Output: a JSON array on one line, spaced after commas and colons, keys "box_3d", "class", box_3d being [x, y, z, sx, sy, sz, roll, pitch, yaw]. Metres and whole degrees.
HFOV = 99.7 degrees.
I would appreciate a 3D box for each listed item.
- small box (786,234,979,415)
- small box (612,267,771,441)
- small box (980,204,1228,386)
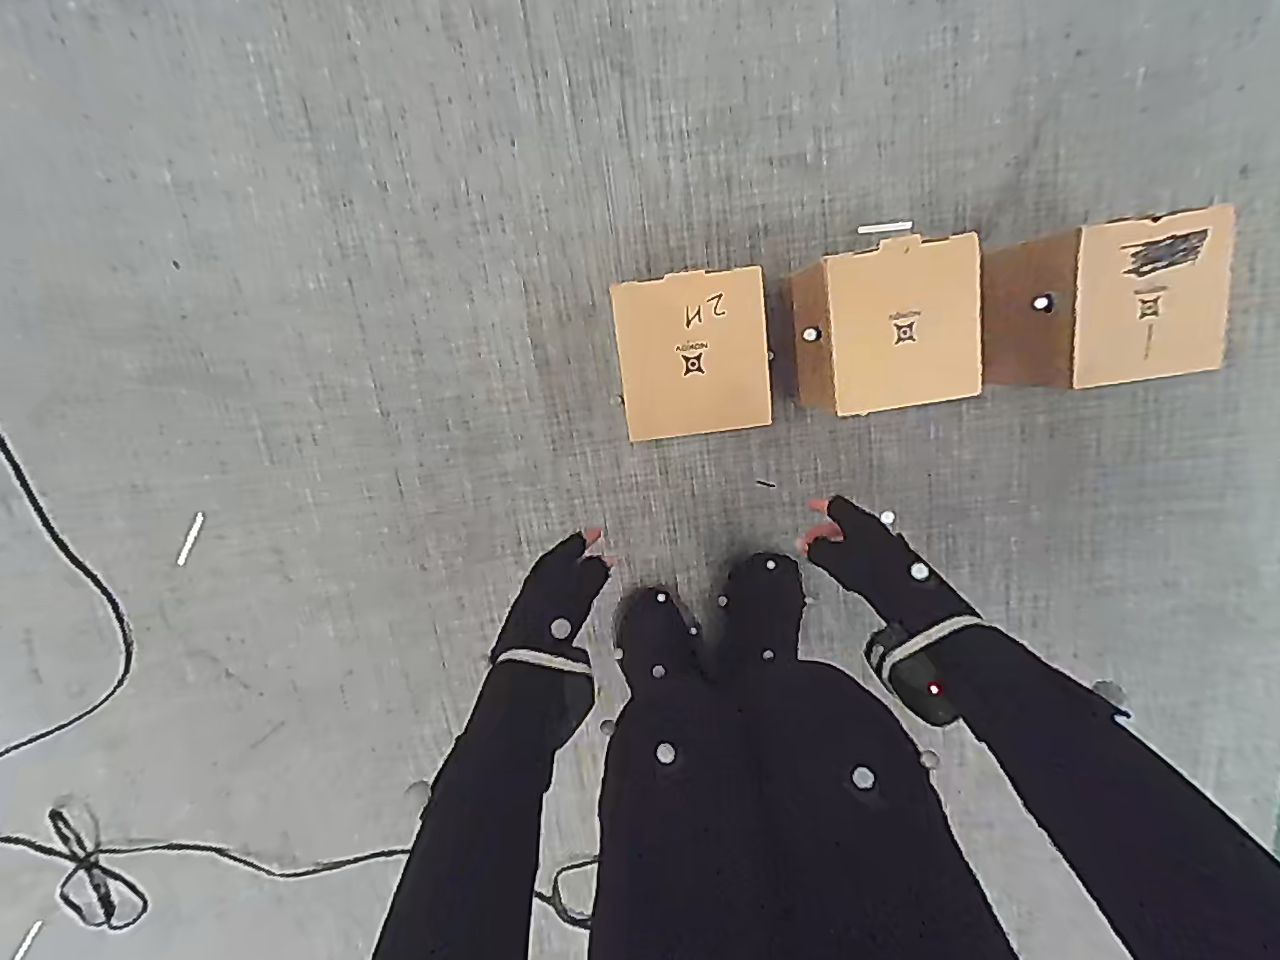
[{"box_3d": [0.290, -0.186, 0.674, 0.168, 0.176, 0.179, -9, 102, 1], "class": "small box"}, {"box_3d": [0.060, -0.155, 0.677, 0.168, 0.176, 0.179, -7, 102, 1], "class": "small box"}, {"box_3d": [0.552, -0.216, 0.669, 0.168, 0.176, 0.179, -8, 103, 1], "class": "small box"}]
